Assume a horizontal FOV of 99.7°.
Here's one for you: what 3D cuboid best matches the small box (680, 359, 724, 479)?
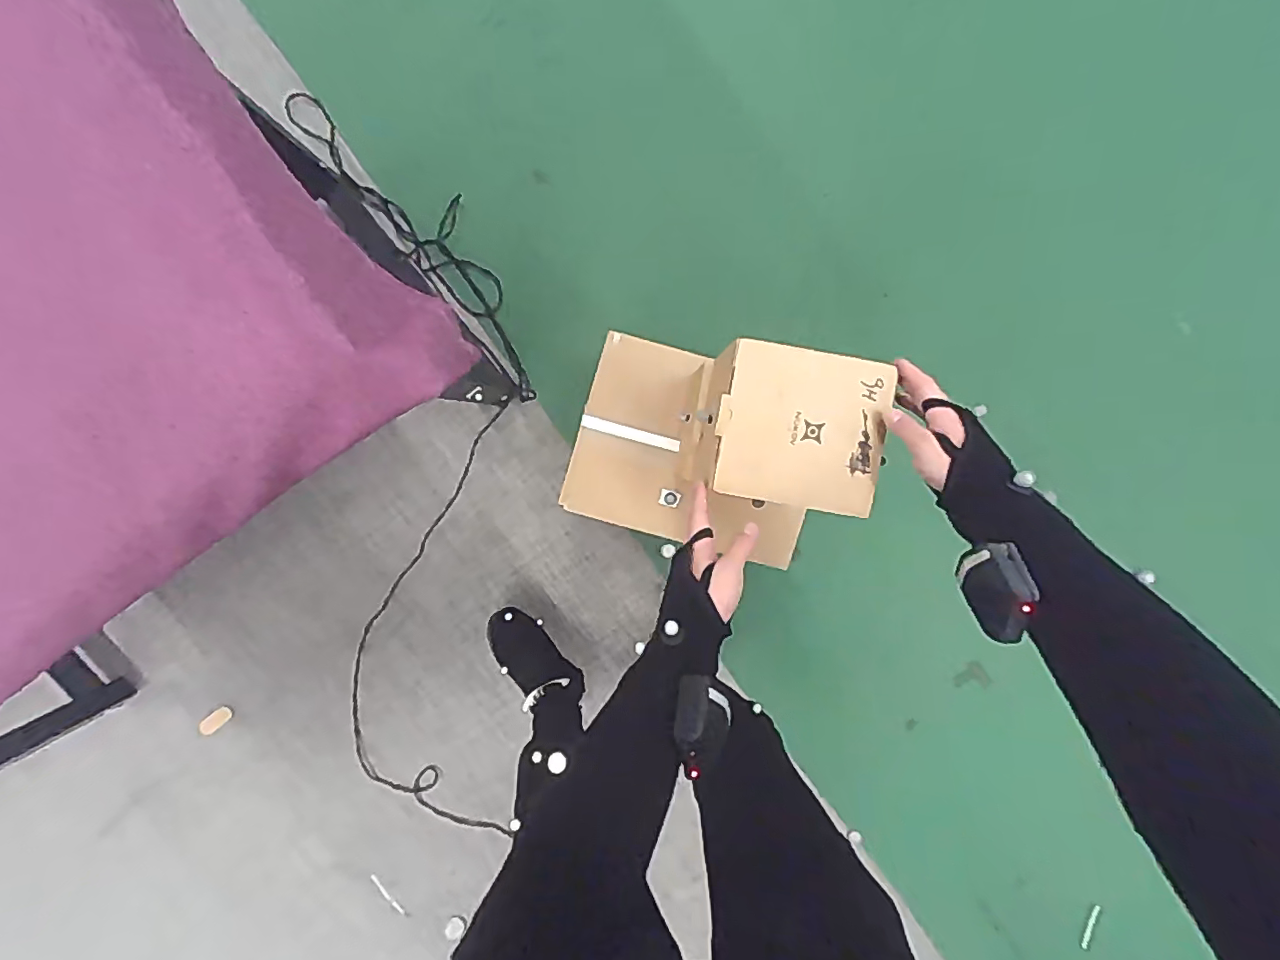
[{"bbox_3d":[0.161,-0.074,0.812,0.179,0.176,0.168,9,94,-1],"label":"small box"}]

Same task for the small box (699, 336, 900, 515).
[{"bbox_3d":[0.174,-0.061,0.649,0.179,0.176,0.168,10,94,0],"label":"small box"}]
